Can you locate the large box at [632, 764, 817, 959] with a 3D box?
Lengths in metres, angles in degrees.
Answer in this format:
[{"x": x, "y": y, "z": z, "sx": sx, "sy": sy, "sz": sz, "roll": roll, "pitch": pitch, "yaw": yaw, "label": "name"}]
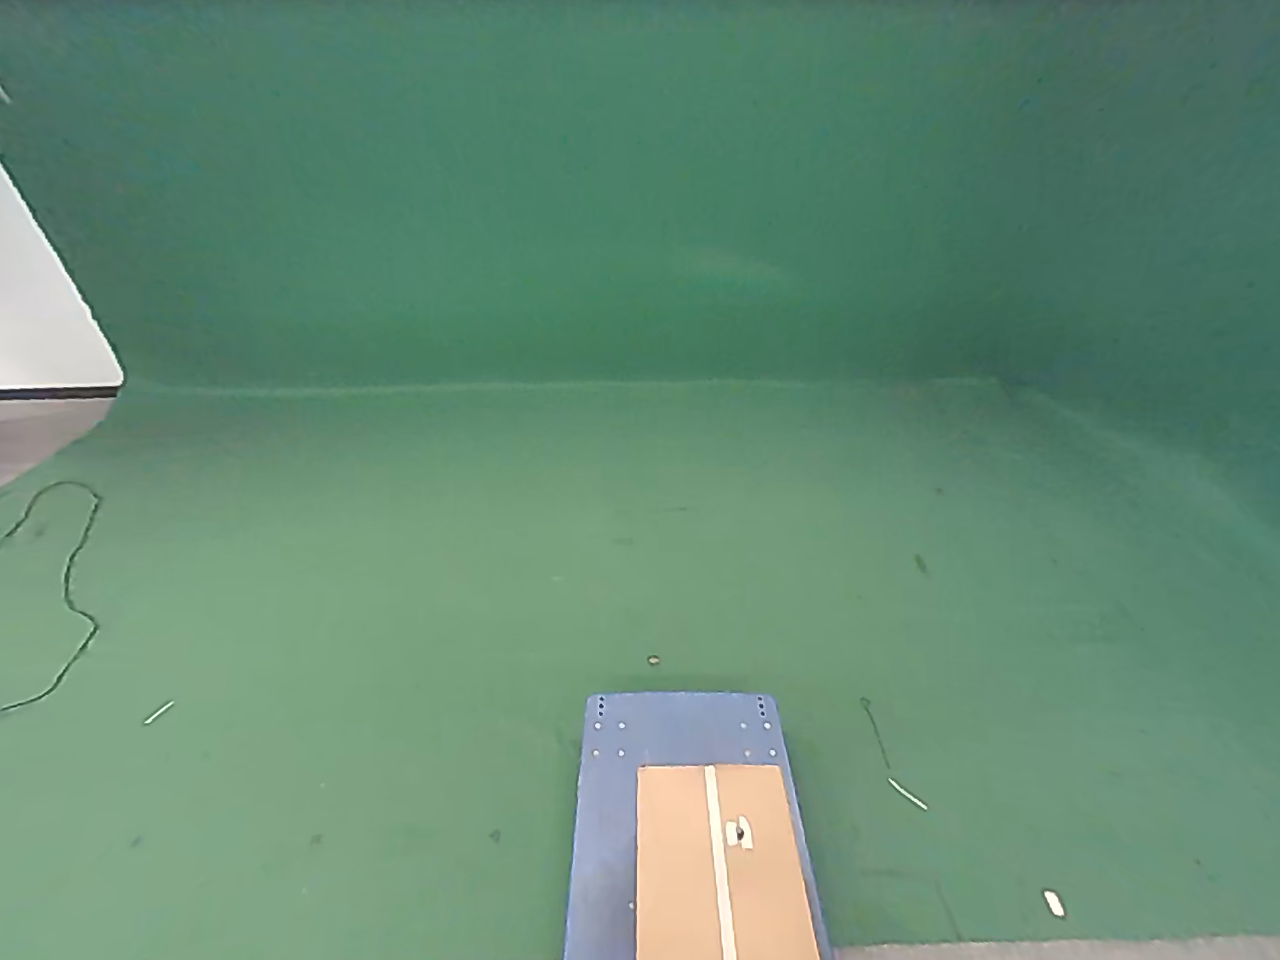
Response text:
[{"x": 0.144, "y": 0.862, "z": 1.105, "sx": 0.320, "sy": 0.320, "sz": 0.408, "roll": 0, "pitch": 34, "yaw": -1, "label": "large box"}]
